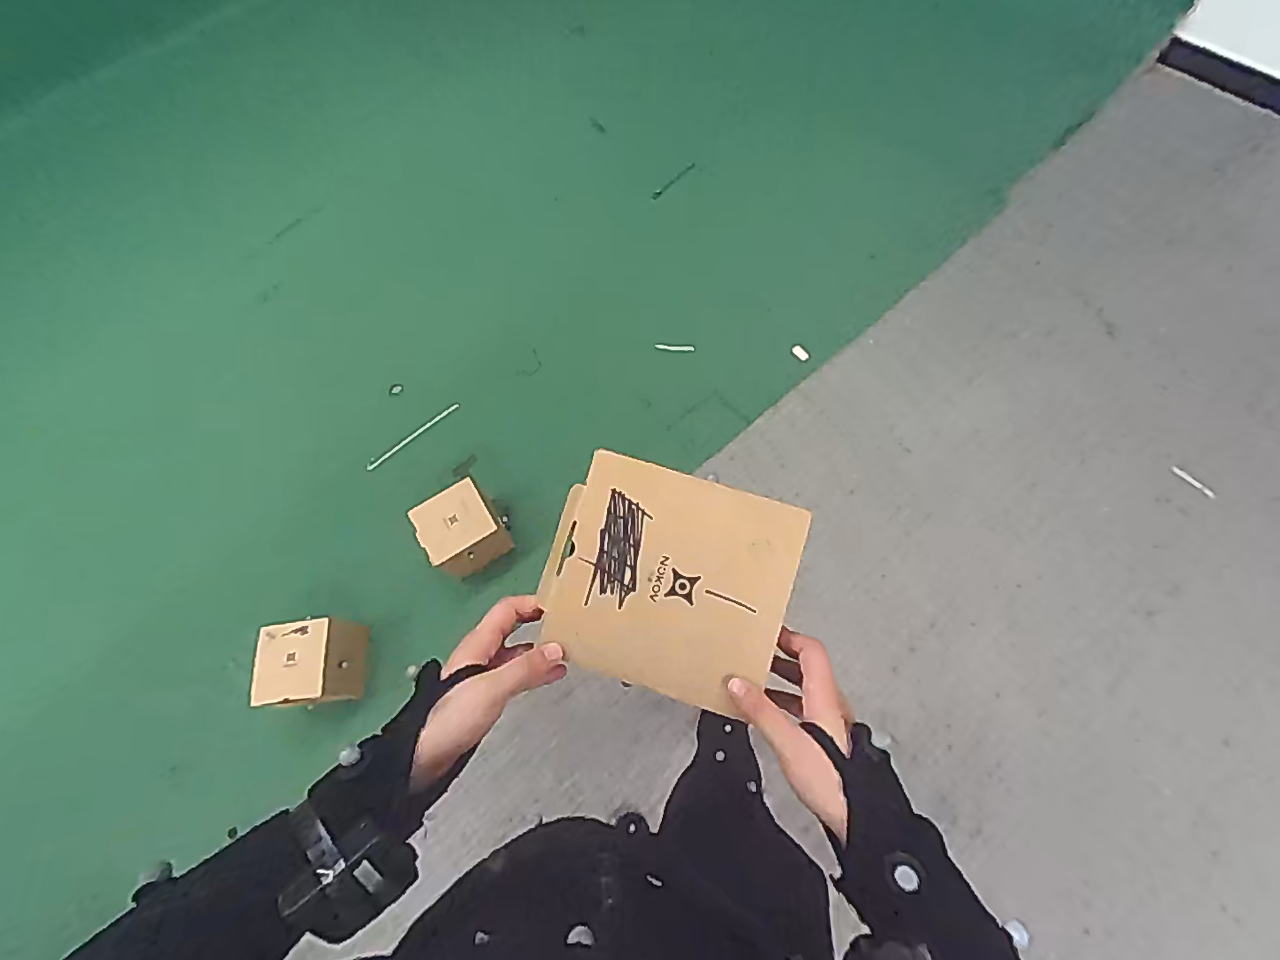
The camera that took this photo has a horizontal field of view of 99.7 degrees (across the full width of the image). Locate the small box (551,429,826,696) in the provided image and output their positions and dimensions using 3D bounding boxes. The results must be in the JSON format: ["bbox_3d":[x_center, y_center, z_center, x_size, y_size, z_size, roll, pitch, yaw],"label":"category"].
[{"bbox_3d":[0.041,0.068,0.492,0.179,0.176,0.168,17,86,5],"label":"small box"}]

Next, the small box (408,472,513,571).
[{"bbox_3d":[-0.452,0.113,1.384,0.179,0.176,0.168,-31,71,-10],"label":"small box"}]

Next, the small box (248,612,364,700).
[{"bbox_3d":[-0.782,0.419,1.285,0.168,0.176,0.179,-8,69,1],"label":"small box"}]
